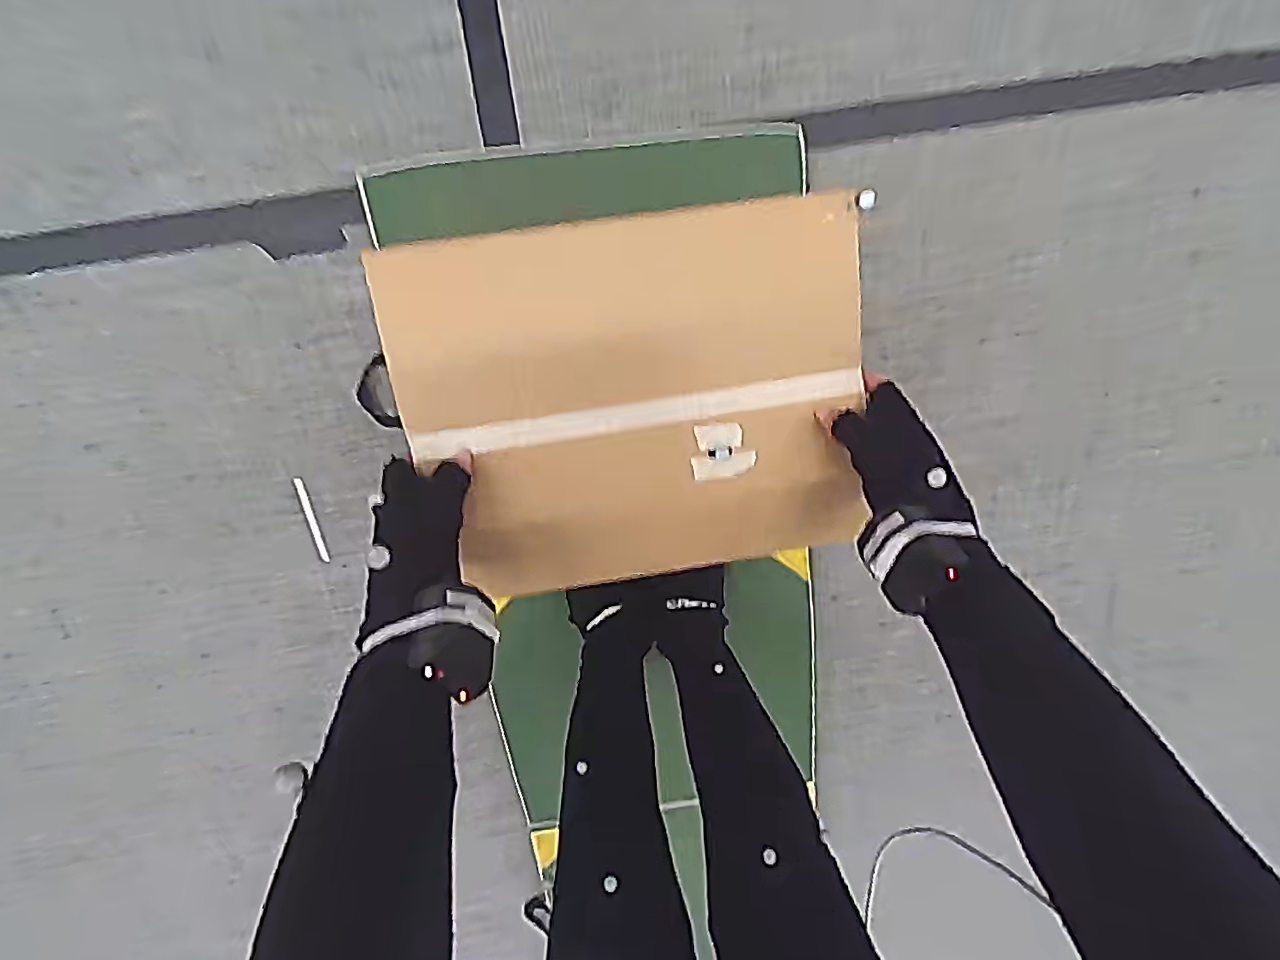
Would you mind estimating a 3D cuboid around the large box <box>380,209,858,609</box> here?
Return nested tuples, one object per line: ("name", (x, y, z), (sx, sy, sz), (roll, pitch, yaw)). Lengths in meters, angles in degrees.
("large box", (-0.015, -0.089, 0.636), (0.408, 0.320, 0.320), (-9, 105, -4))
